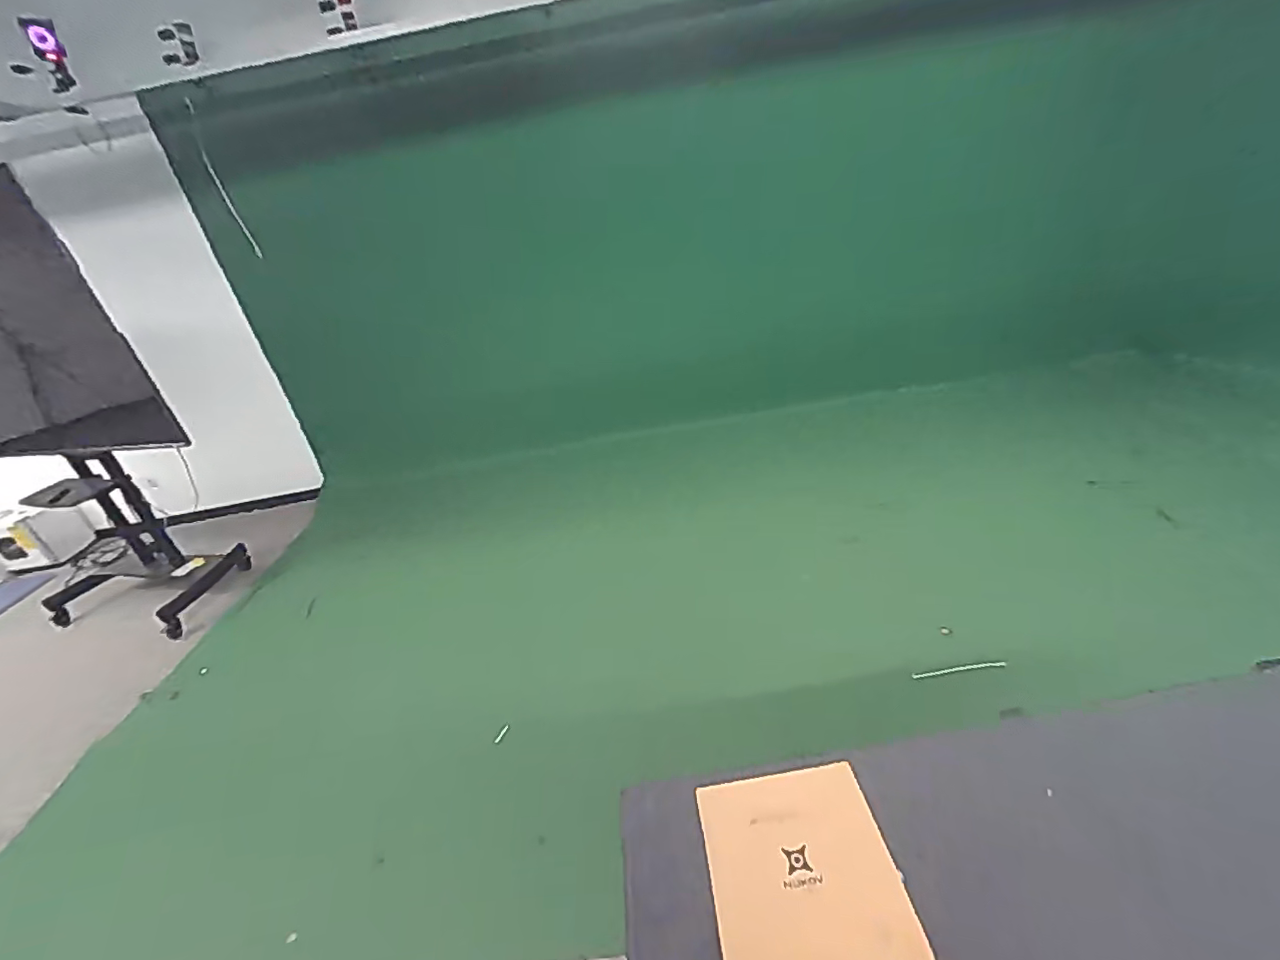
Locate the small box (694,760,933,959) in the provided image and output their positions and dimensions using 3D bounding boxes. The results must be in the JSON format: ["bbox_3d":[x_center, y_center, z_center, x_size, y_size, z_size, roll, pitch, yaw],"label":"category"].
[{"bbox_3d":[0.155,0.416,0.524,0.168,0.176,0.179,-10,26,0],"label":"small box"}]
